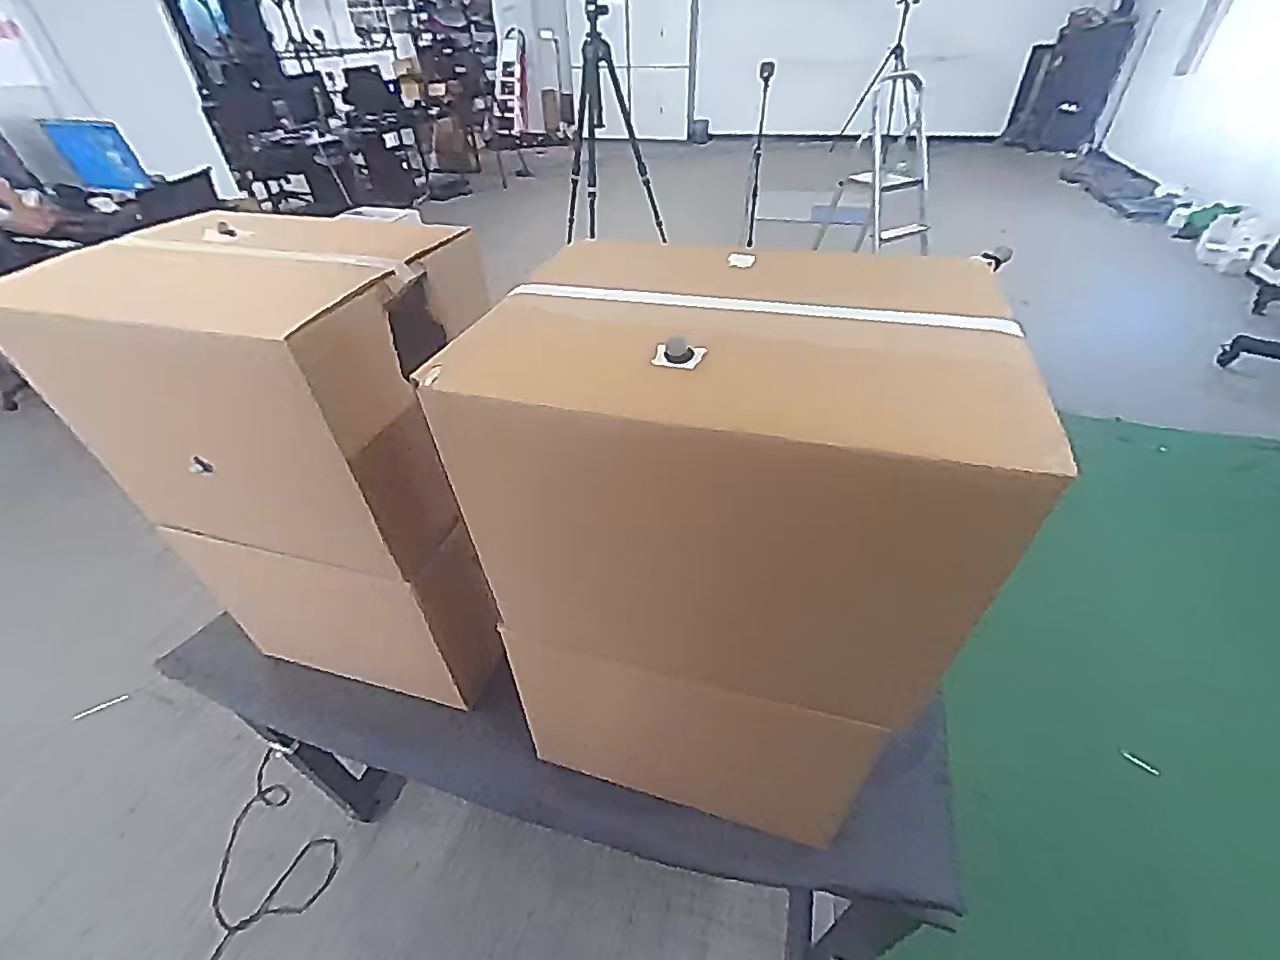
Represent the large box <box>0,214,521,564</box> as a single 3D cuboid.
[{"bbox_3d":[-0.419,-0.130,0.695,0.408,0.320,0.320,9,42,14],"label":"large box"}]
